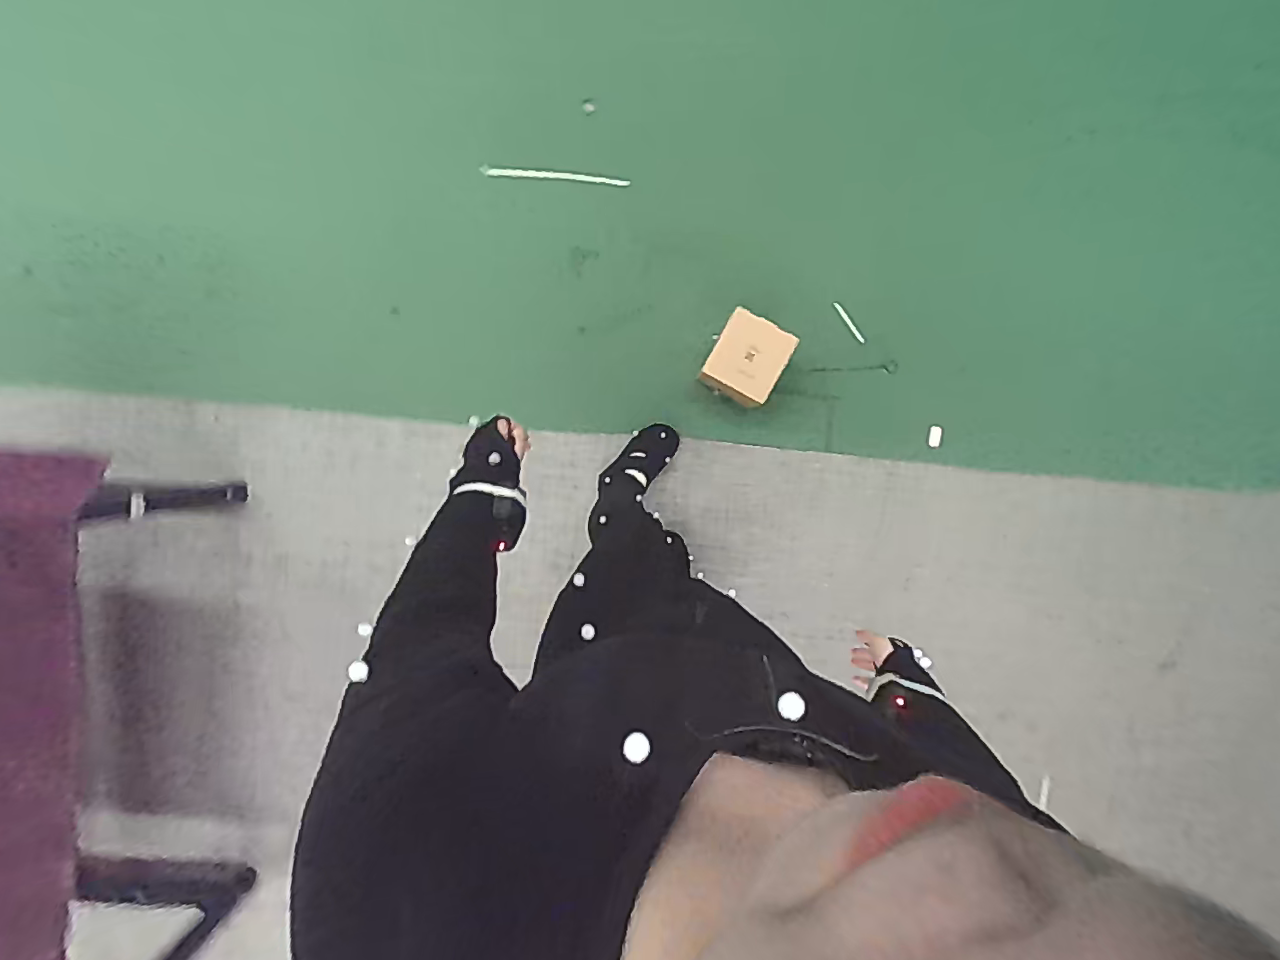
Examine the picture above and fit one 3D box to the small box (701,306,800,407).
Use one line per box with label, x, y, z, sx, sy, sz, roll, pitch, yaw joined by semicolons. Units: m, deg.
small box;0.263;-0.296;1.337;0.168;0.176;0.179;30;94;0
